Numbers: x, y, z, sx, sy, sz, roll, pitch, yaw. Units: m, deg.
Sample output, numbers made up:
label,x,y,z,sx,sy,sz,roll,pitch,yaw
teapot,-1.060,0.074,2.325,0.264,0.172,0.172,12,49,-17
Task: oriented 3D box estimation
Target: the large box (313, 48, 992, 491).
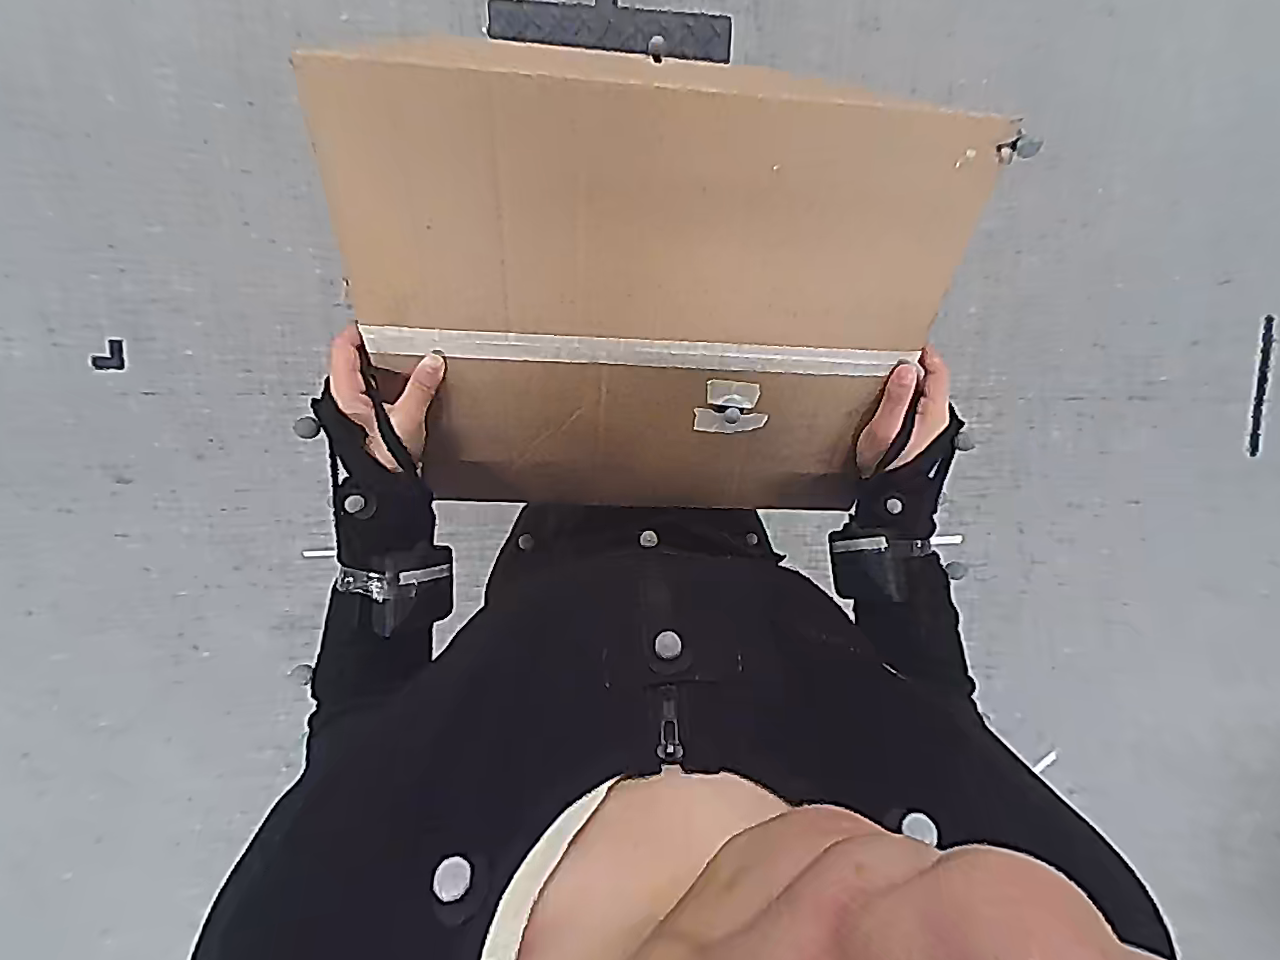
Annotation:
label,x,y,z,sx,sy,sz,roll,pitch,yaw
large box,-0.003,-0.205,0.518,0.408,0.320,0.320,0,132,-6
